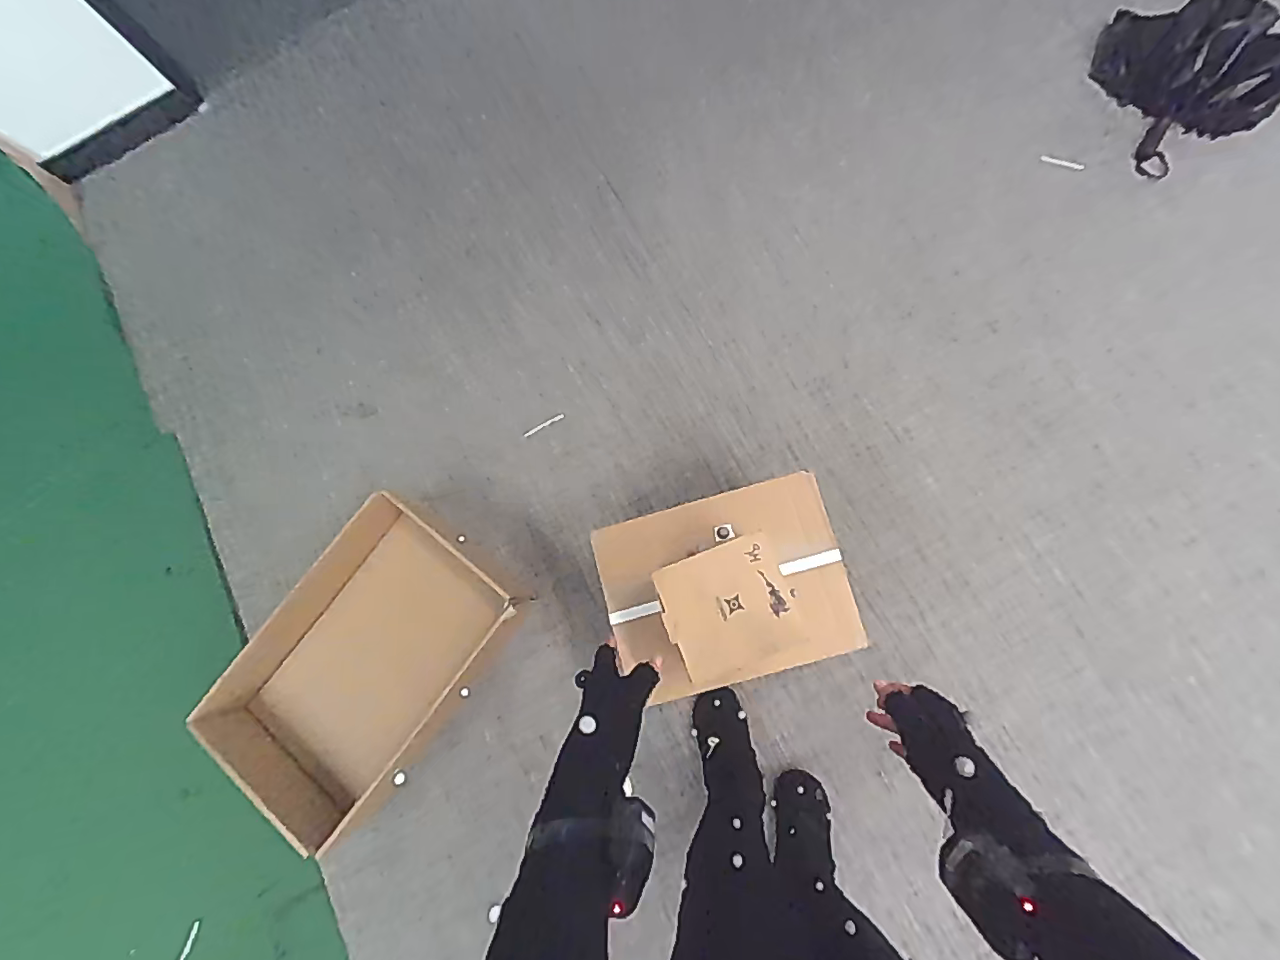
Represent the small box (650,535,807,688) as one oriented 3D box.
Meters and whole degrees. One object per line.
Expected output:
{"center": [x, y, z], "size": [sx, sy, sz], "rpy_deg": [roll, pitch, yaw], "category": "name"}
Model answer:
{"center": [0.130, 0.197, 0.827], "size": [0.179, 0.176, 0.168], "rpy_deg": [-22, 78, 2], "category": "small box"}
